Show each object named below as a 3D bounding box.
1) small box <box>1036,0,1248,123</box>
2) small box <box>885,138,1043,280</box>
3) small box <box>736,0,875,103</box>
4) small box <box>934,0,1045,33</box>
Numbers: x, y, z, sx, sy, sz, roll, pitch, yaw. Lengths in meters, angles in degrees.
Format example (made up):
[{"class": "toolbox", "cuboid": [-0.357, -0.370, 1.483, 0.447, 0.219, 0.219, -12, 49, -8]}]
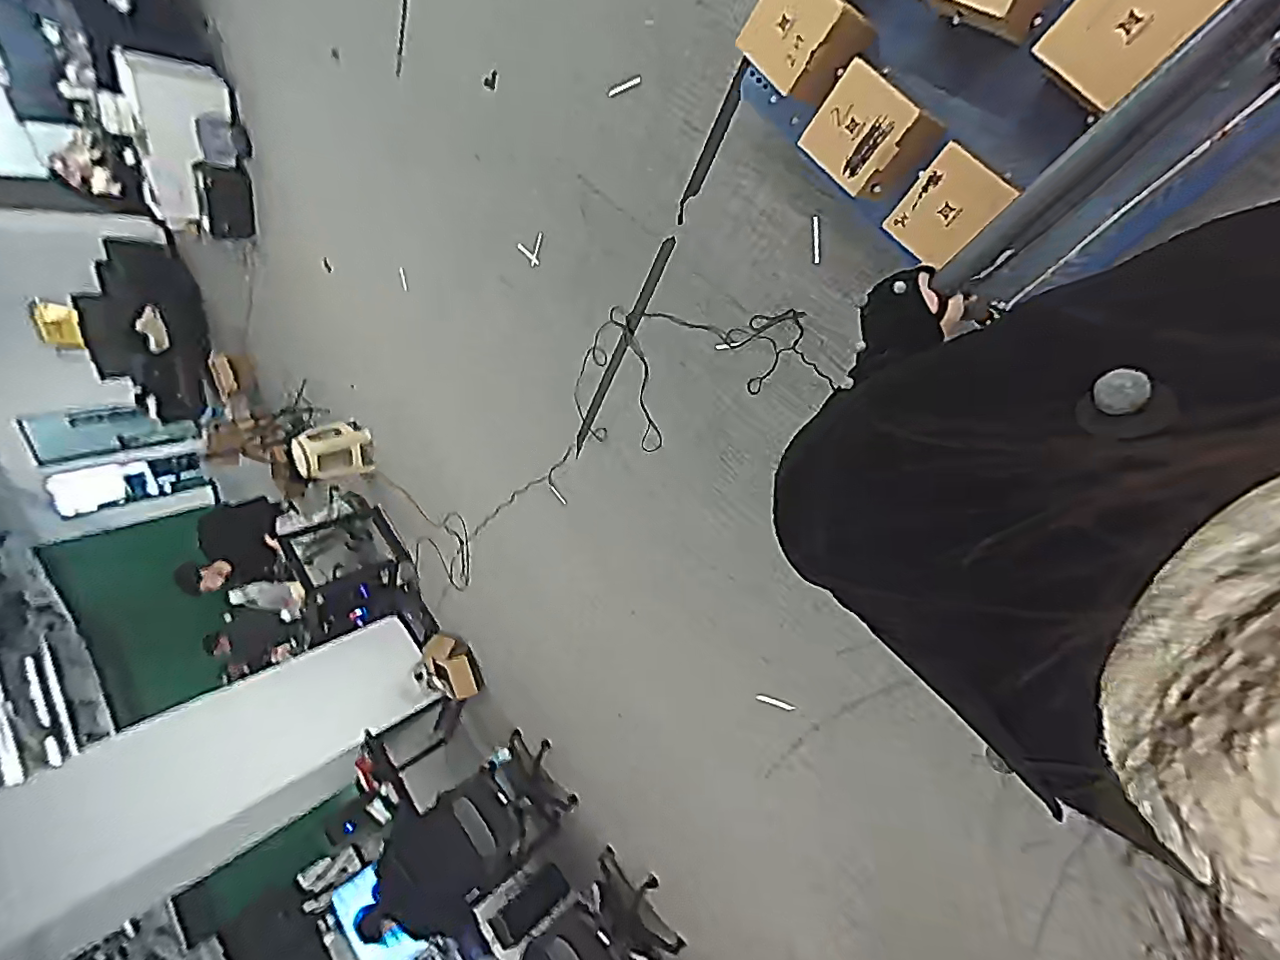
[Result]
[{"class": "small box", "cuboid": [0.746, -0.669, 0.807, 0.179, 0.176, 0.168, 55, 135, 14]}, {"class": "small box", "cuboid": [0.607, -0.500, 1.011, 0.179, 0.176, 0.168, 51, 134, 16]}, {"class": "small box", "cuboid": [0.338, -0.911, 1.102, 0.179, 0.176, 0.168, 55, 135, 12]}, {"class": "small box", "cuboid": [0.591, -0.863, 0.876, 0.179, 0.176, 0.168, 45, 133, 22]}]
